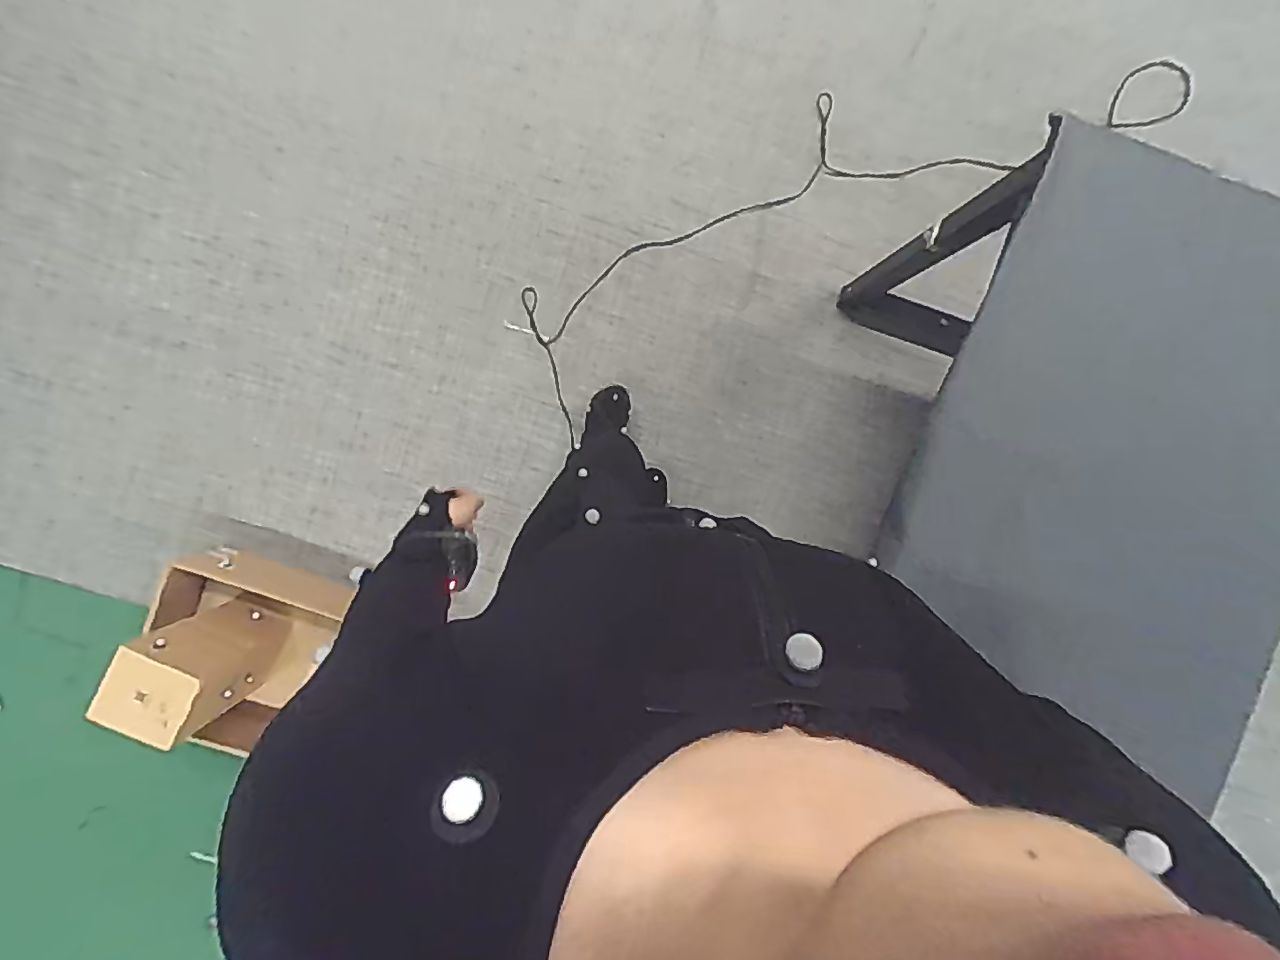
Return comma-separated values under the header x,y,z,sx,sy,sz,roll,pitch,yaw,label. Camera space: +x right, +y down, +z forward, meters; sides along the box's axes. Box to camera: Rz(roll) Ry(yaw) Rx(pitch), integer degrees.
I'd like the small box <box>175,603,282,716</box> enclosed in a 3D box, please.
x,y,z,sx,sy,sz,roll,pitch,yaw,label
-1.013,0.426,1.306,0.168,0.176,0.179,26,90,-5,small box

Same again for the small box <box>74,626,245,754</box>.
x,y,z,sx,sy,sz,roll,pitch,yaw,label
-1.000,0.430,1.142,0.179,0.176,0.168,27,91,-6,small box
